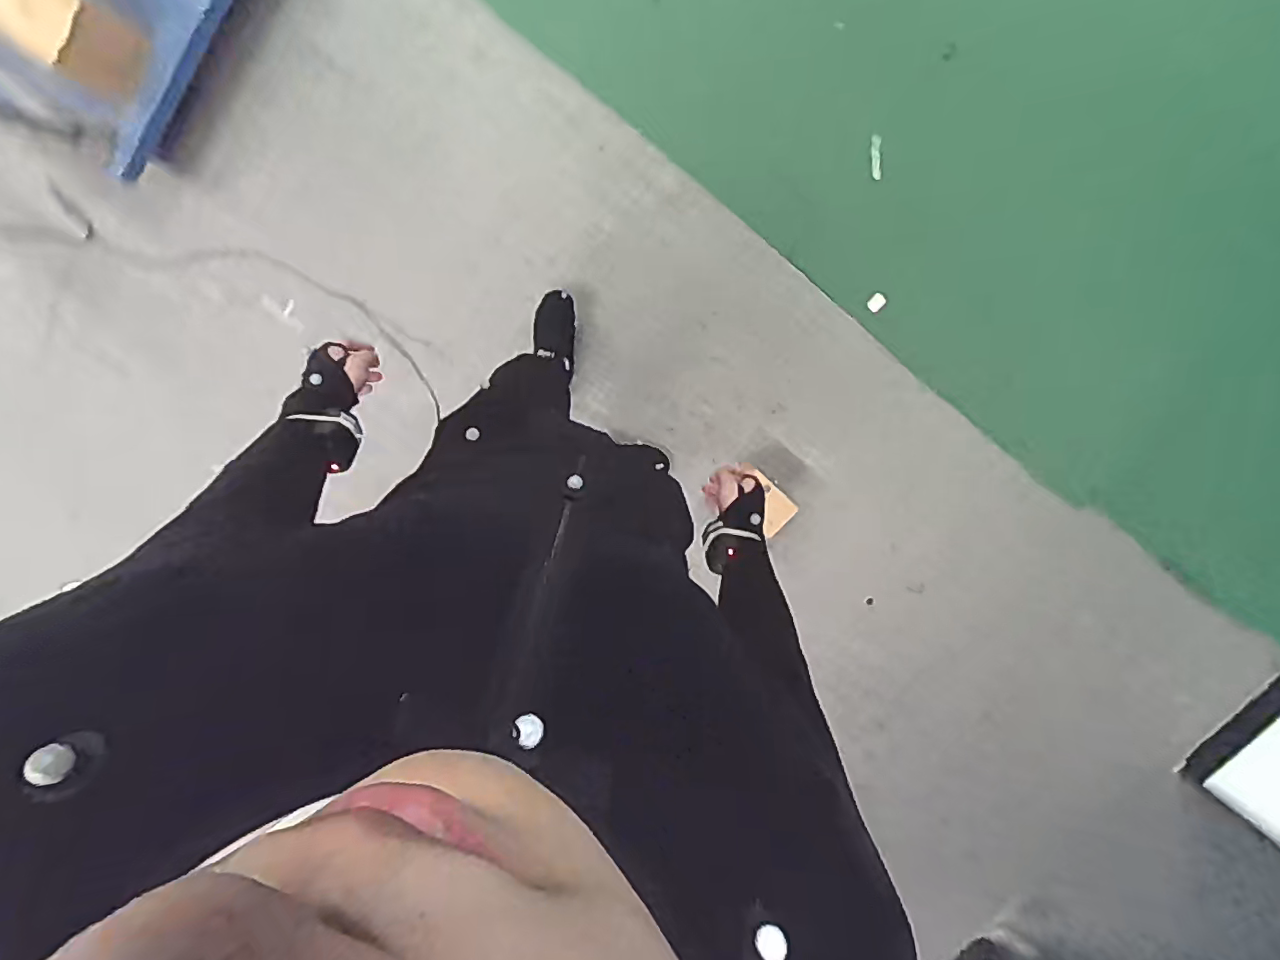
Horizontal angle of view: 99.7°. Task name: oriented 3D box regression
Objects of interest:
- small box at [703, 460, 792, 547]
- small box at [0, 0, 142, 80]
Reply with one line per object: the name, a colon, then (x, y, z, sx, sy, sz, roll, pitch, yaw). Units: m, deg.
small box: (0.302, 0.060, 1.570, 0.179, 0.176, 0.168, 42, 100, -9)
small box: (-1.249, -1.009, 1.160, 0.179, 0.176, 0.168, -20, 104, 6)
